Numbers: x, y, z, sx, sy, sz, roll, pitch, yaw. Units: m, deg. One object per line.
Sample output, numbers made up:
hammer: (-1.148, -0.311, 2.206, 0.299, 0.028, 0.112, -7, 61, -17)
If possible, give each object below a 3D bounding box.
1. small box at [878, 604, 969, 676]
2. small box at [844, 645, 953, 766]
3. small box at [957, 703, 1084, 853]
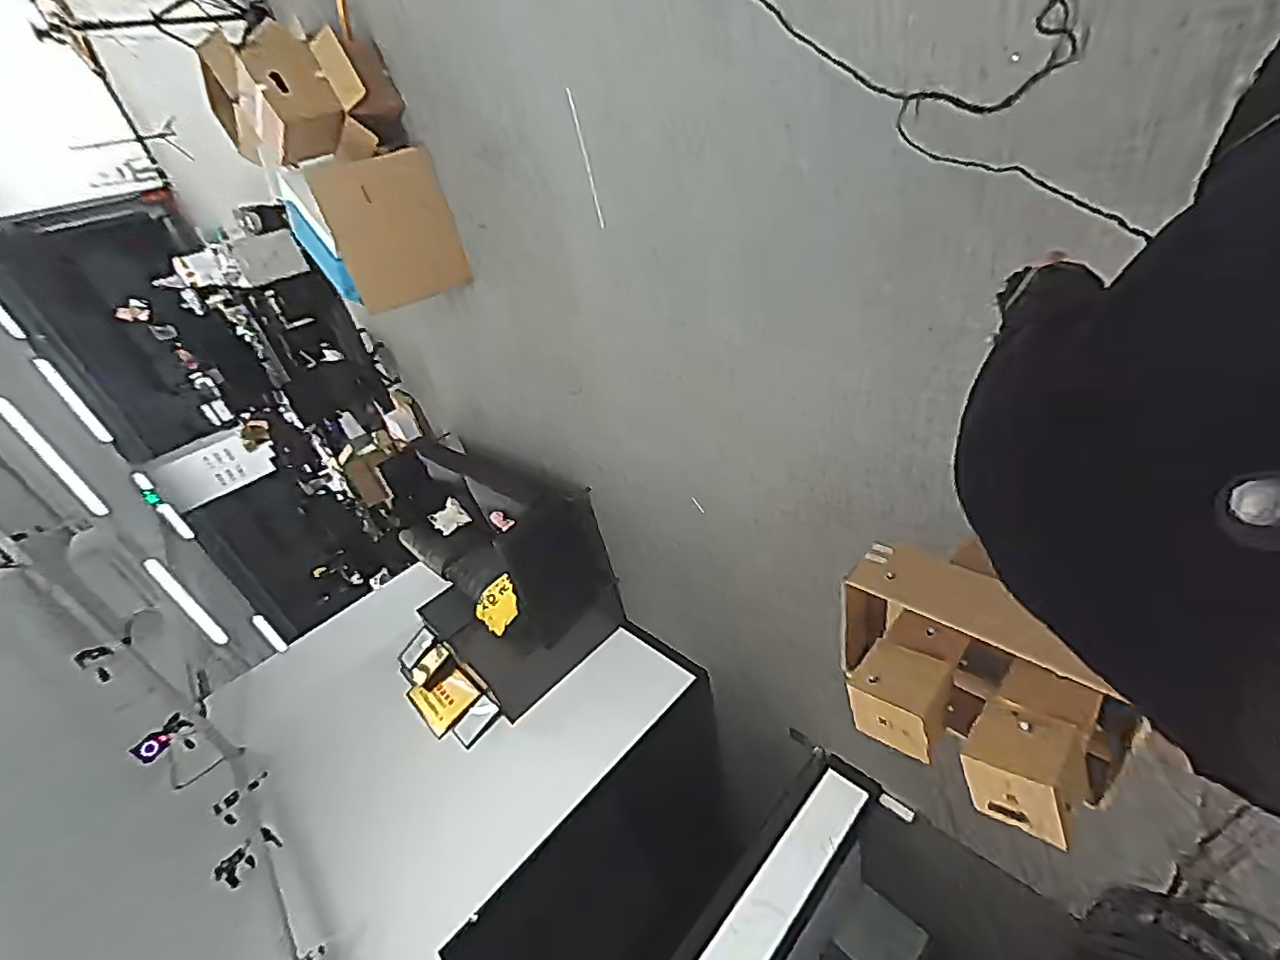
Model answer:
small box: (0.720, 0.455, 1.397, 0.168, 0.176, 0.179, 30, 141, 35)
small box: (0.615, 0.524, 1.285, 0.179, 0.176, 0.168, 12, 130, 47)
small box: (0.795, 0.609, 1.126, 0.168, 0.176, 0.179, 1, 120, 52)
